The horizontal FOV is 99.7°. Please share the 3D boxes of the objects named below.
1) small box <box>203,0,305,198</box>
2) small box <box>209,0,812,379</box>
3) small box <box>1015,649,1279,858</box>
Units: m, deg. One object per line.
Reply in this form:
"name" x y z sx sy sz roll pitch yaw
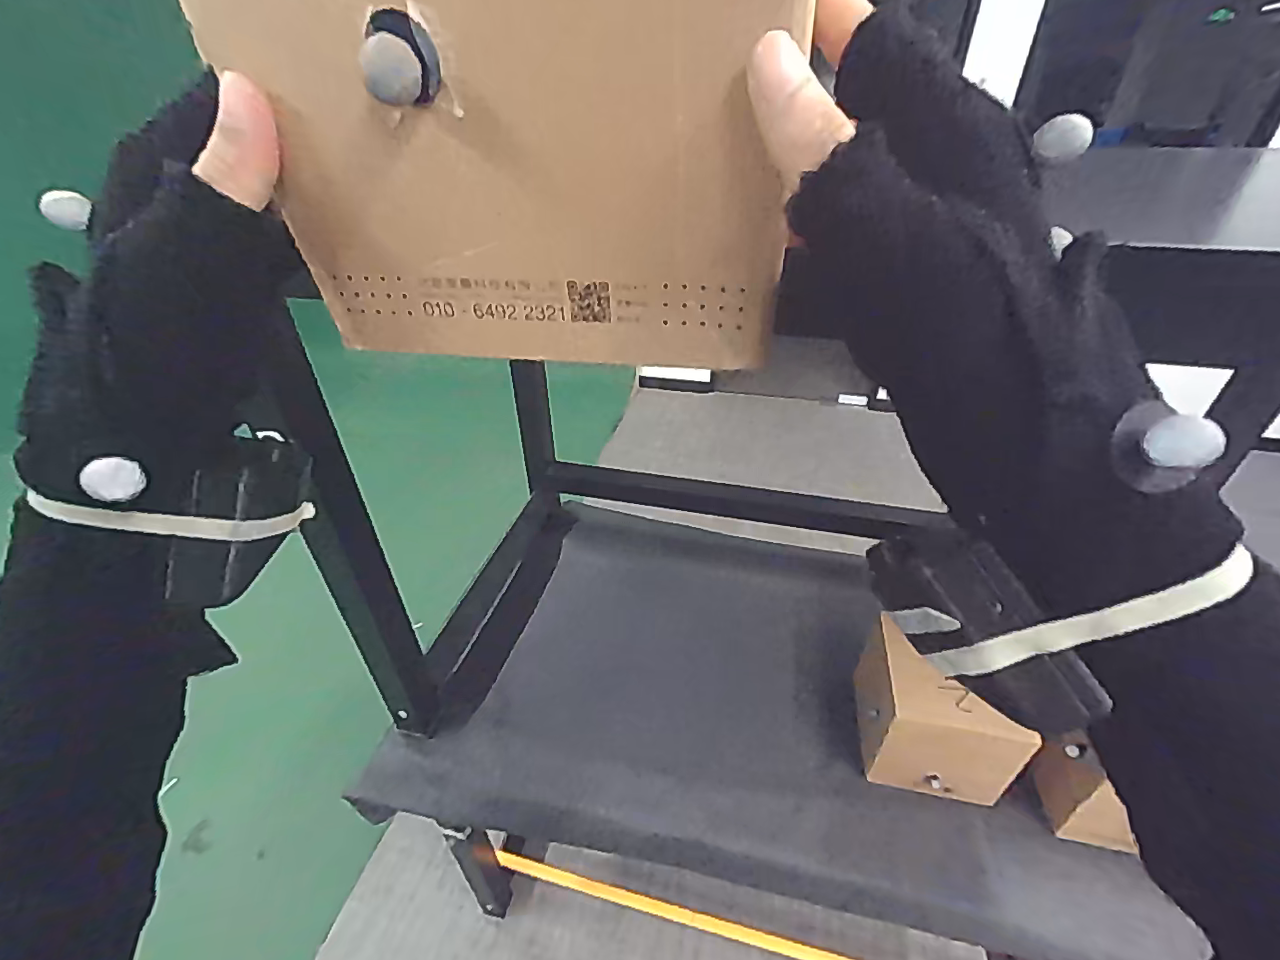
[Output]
"small box" -0.213 -0.332 0.445 0.168 0.176 0.179 7 37 10
"small box" -0.023 -0.154 0.214 0.168 0.176 0.179 4 43 8
"small box" 0.638 0.359 0.714 0.168 0.176 0.179 7 35 10
